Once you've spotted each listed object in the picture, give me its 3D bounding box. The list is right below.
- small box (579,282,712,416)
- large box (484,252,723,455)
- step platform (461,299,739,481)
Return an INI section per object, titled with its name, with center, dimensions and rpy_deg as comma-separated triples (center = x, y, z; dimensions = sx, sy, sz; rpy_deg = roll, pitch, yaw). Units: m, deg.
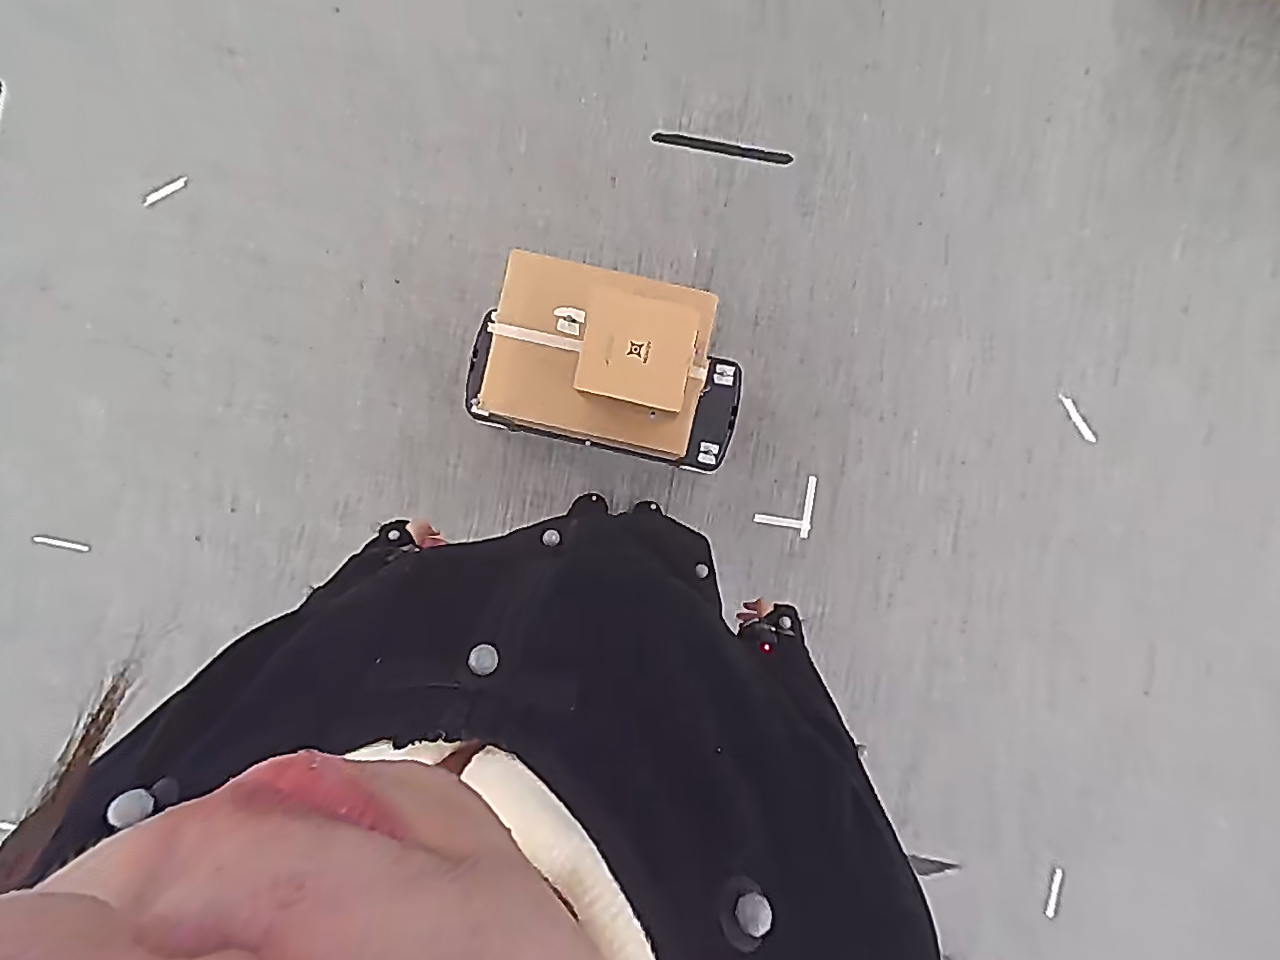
[small box]
center = 0.009, -0.207, 0.908
dimensions = 0.179, 0.176, 0.168
rpy_deg = 14, 91, 1
[large box]
center = -0.064, -0.240, 1.153
dimensions = 0.408, 0.320, 0.320
rpy_deg = 13, 90, 1
[step platform]
center = -0.097, -0.224, 1.392
dimensions = 0.684, 0.204, 0.286
rpy_deg = 18, 91, 1
